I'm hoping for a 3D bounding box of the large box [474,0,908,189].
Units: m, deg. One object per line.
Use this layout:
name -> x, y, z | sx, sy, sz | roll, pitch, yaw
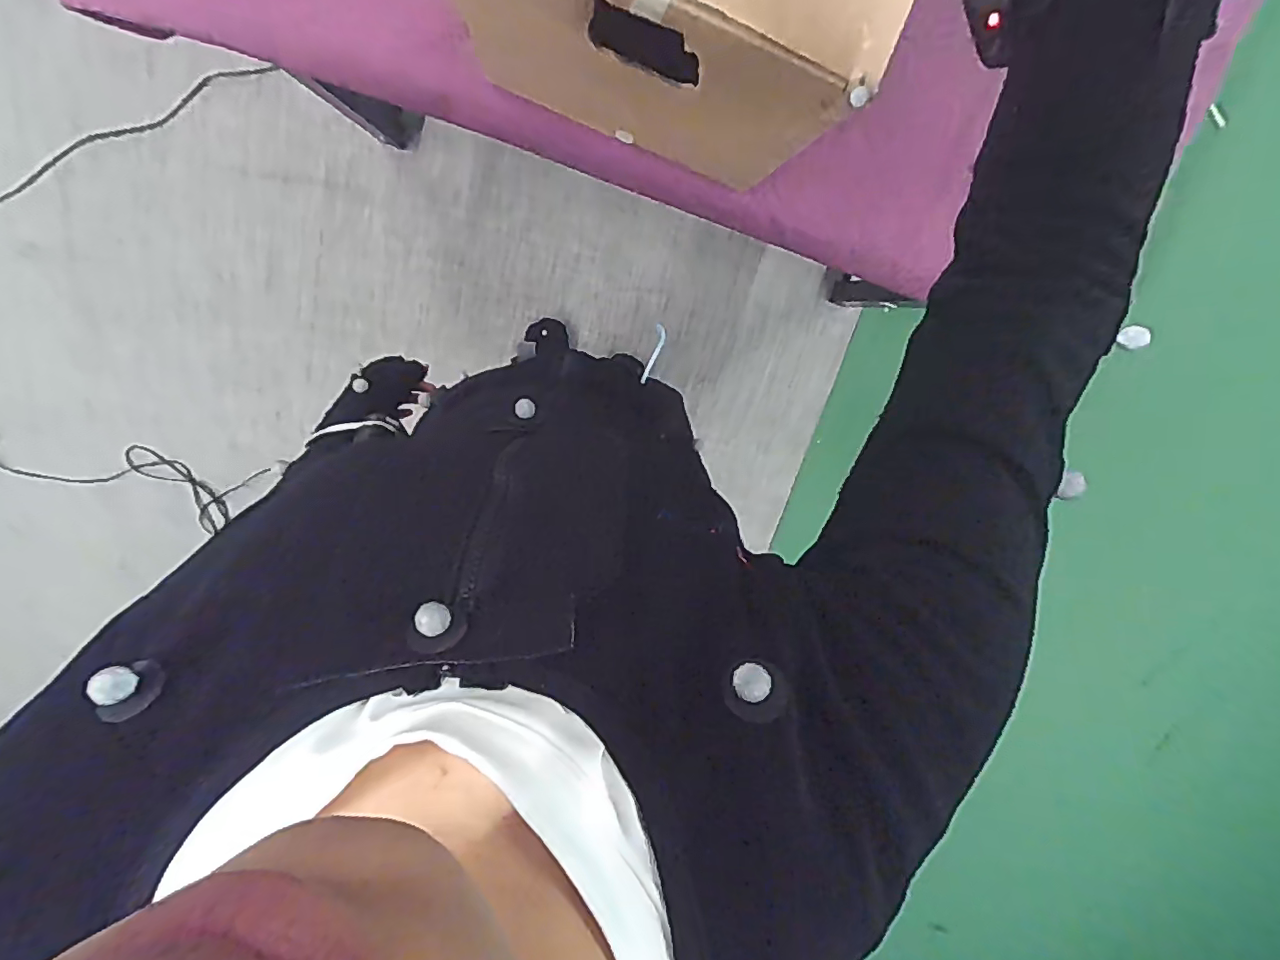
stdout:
large box -> 0.067, -0.531, 0.443 | 0.320, 0.320, 0.408 | 18, 106, -10
